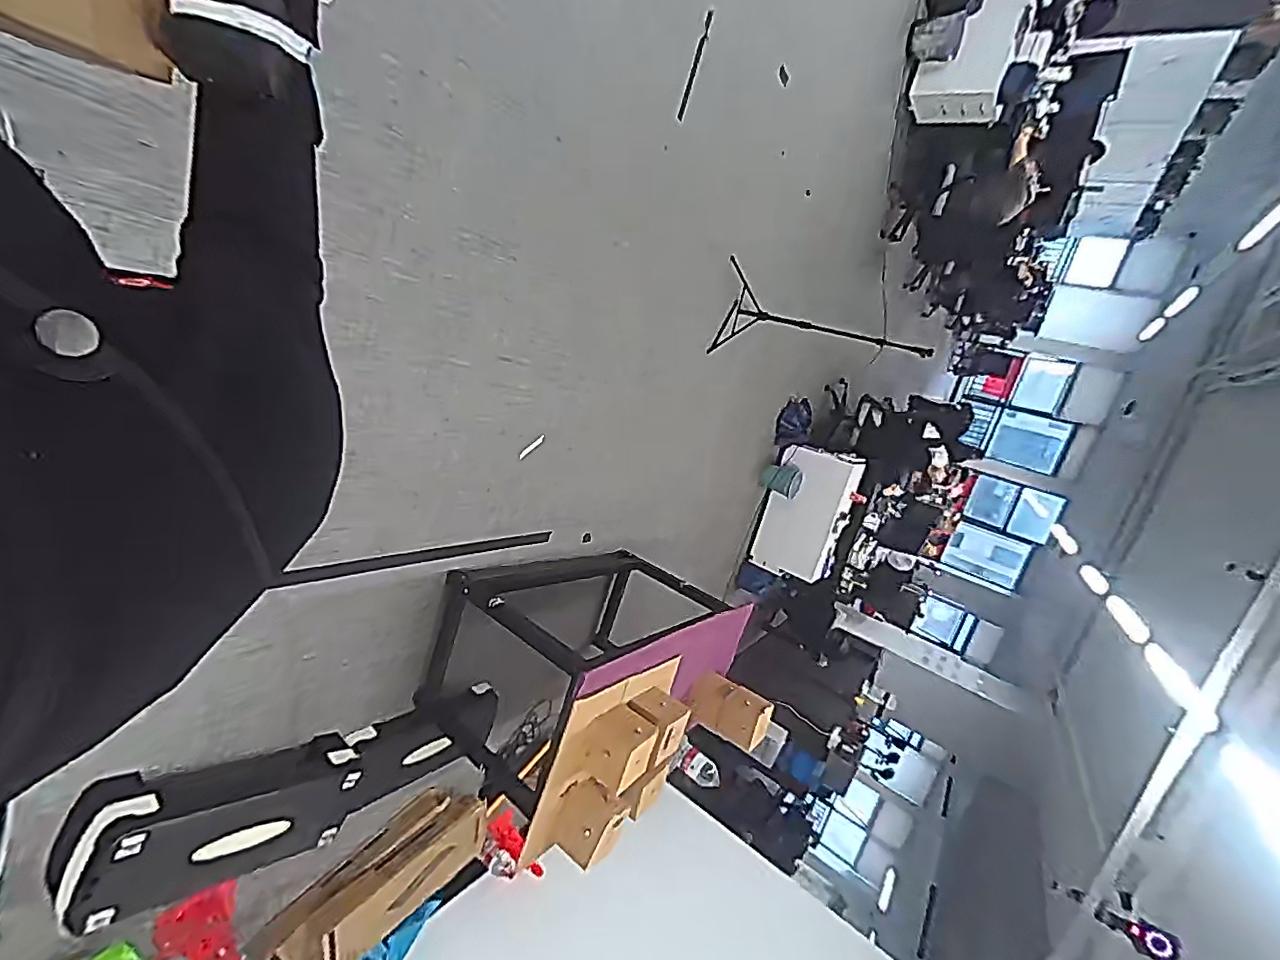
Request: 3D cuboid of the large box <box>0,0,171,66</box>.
[{"bbox_3d":[-0.494,-0.469,0.231,0.408,0.320,0.320,-4,121,-56],"label":"large box"}]
